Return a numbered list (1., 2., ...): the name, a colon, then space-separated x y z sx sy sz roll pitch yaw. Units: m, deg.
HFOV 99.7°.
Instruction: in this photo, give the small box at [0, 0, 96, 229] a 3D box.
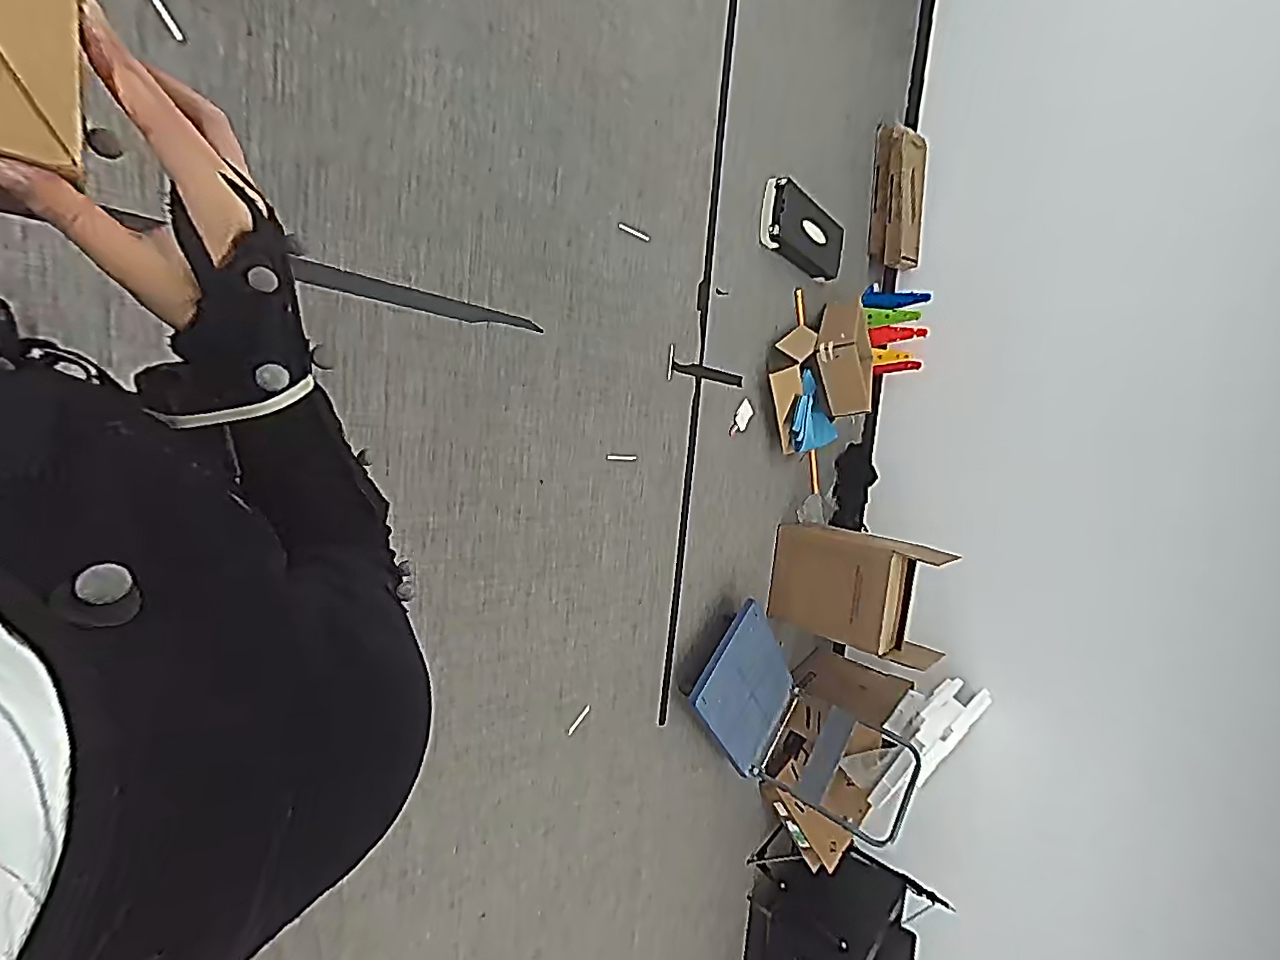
1. small box: -0.334 -0.223 0.209 0.168 0.176 0.179 -1 101 -47
